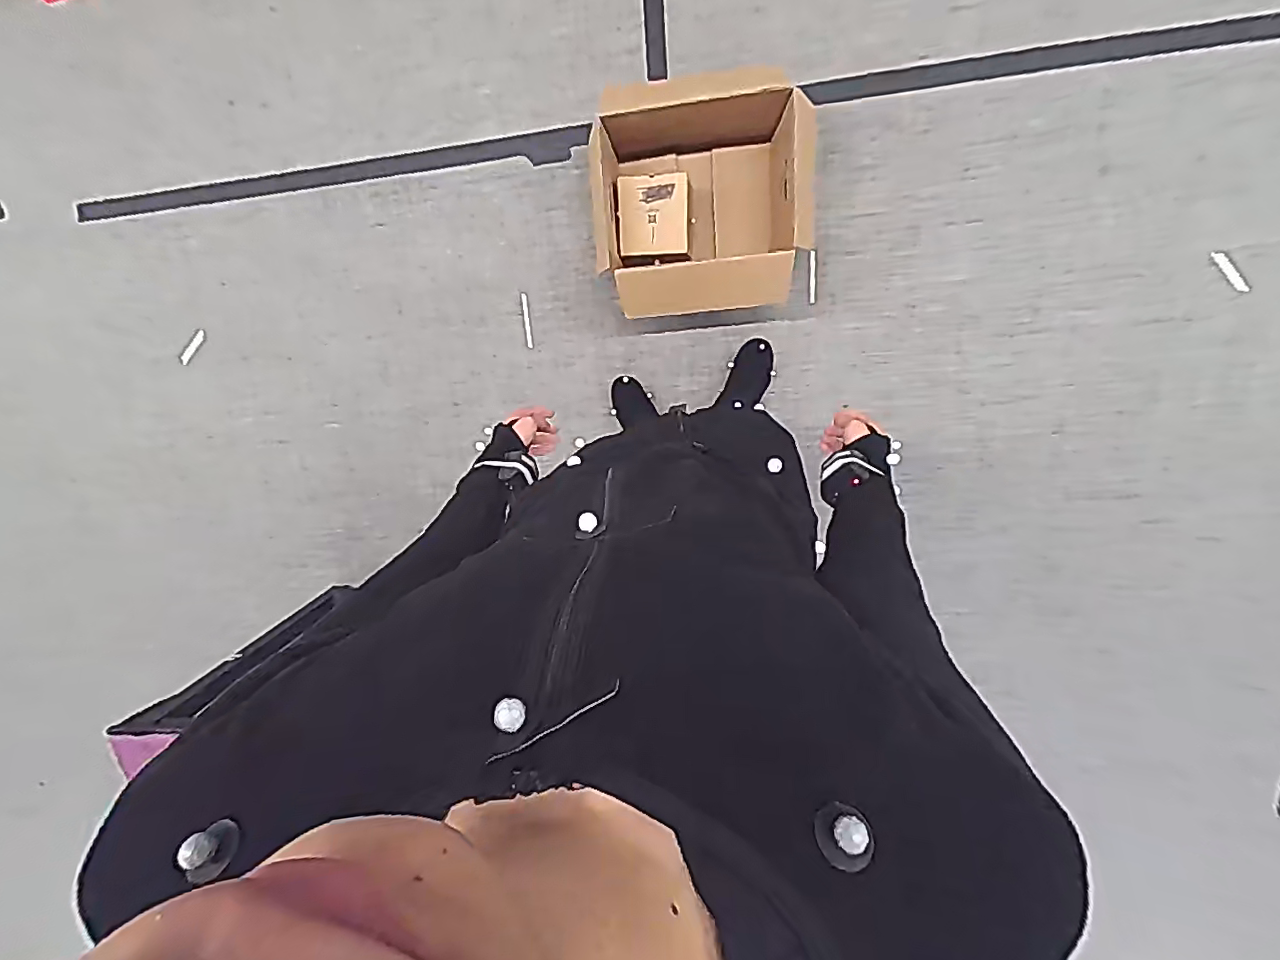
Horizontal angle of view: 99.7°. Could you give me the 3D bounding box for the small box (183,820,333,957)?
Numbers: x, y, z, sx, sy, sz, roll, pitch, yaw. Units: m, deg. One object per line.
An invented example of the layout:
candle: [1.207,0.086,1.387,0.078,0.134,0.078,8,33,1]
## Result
small box: [-0.785,0.850,1.137,0.179,0.176,0.168,-10,104,9]
